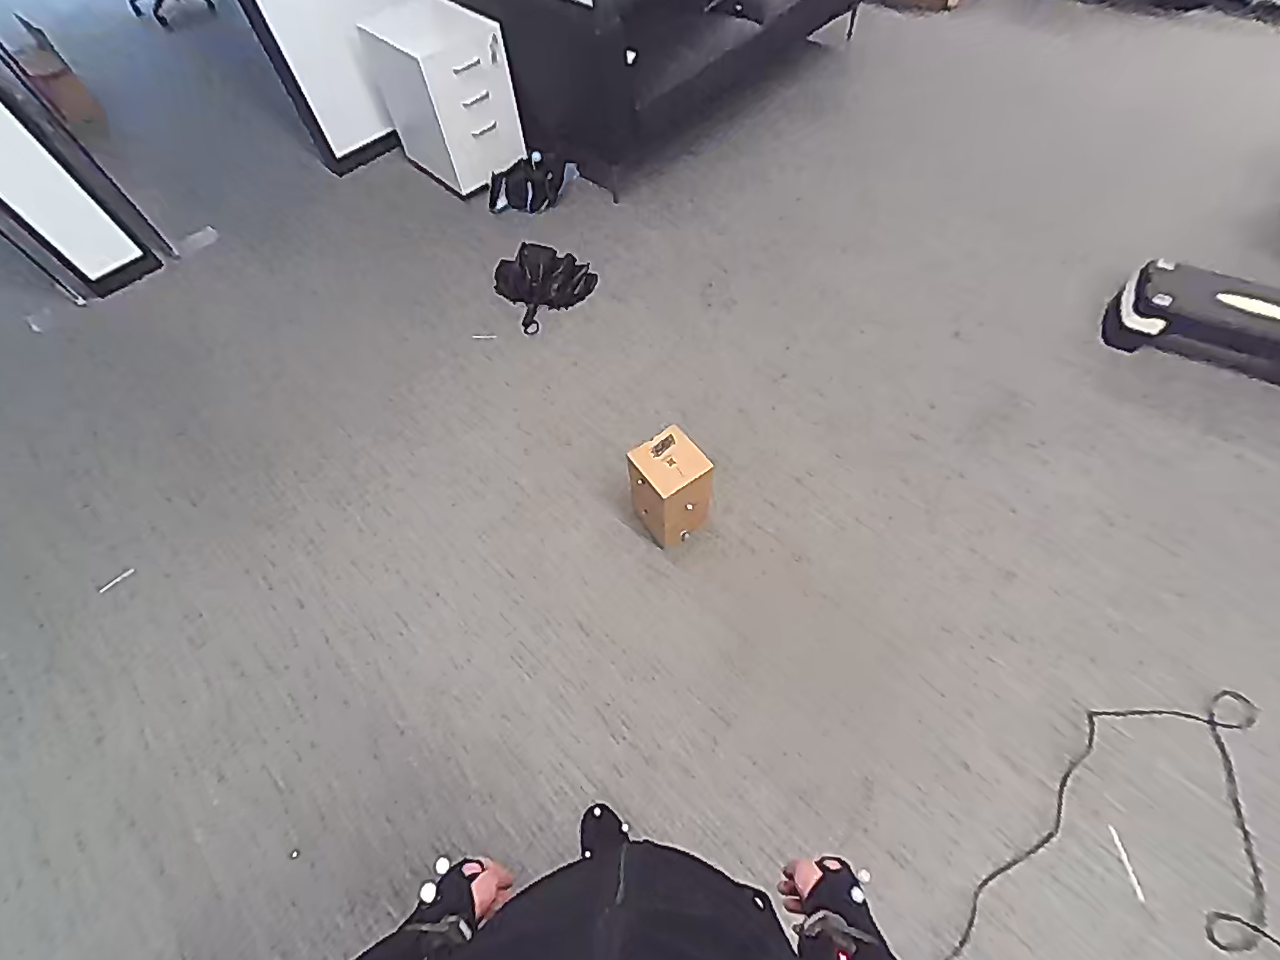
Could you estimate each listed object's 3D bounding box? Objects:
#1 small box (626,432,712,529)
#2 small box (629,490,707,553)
[{"bbox_3d":[0.078,0.006,1.506,0.168,0.176,0.179,-32,63,-15],"label":"small box"},{"bbox_3d":[0.084,0.091,1.646,0.168,0.176,0.179,-33,64,-15],"label":"small box"}]
